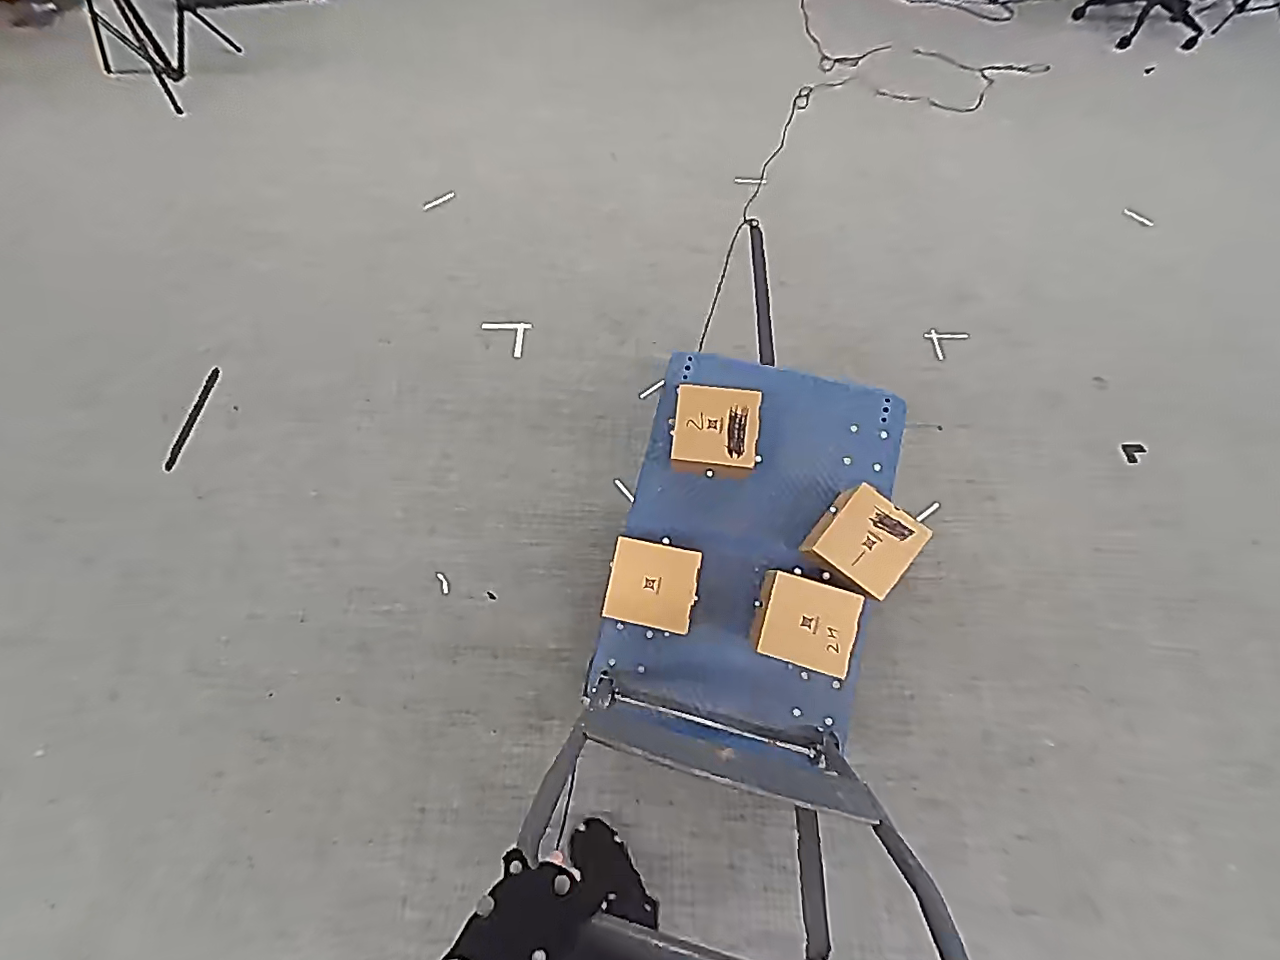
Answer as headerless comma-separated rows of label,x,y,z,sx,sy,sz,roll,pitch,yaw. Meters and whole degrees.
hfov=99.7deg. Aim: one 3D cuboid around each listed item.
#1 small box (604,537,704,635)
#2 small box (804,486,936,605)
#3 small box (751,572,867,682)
small box,0.034,0.225,1.164,0.179,0.176,0.168,12,81,6
small box,0.469,0.139,1.138,0.168,0.176,0.179,39,87,11
small box,0.340,0.297,1.123,0.179,0.176,0.168,17,83,8
